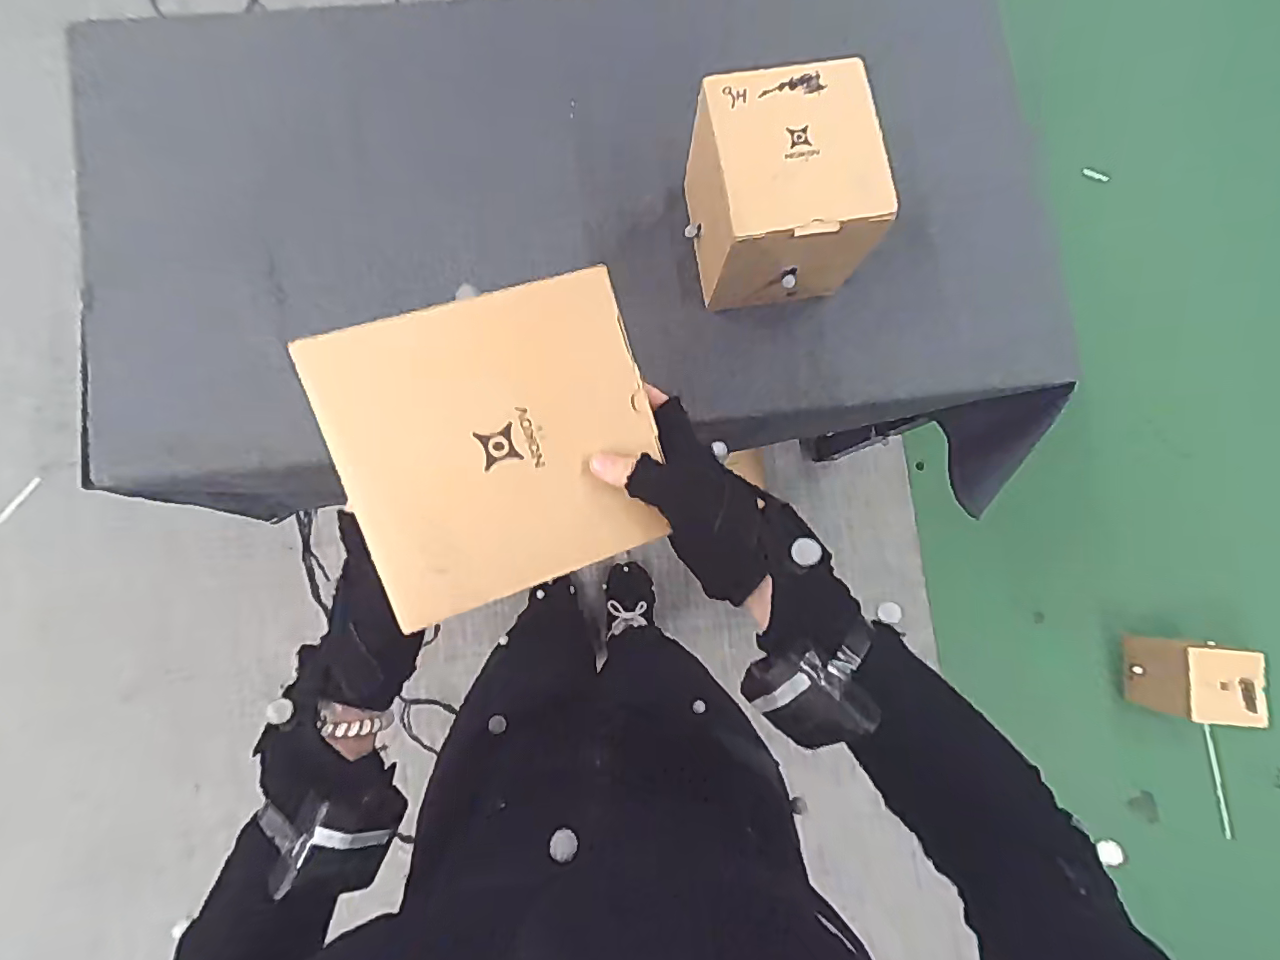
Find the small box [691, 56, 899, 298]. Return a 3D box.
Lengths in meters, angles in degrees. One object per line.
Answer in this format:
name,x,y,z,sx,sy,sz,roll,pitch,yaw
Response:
small box,0.159,-0.322,0.611,0.168,0.176,0.179,-9,84,-4

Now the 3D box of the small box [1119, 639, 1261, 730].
small box,1.306,0.482,1.295,0.179,0.176,0.168,5,82,-1

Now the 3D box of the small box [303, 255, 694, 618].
small box,-0.089,-0.029,0.377,0.179,0.176,0.168,-19,97,-14
